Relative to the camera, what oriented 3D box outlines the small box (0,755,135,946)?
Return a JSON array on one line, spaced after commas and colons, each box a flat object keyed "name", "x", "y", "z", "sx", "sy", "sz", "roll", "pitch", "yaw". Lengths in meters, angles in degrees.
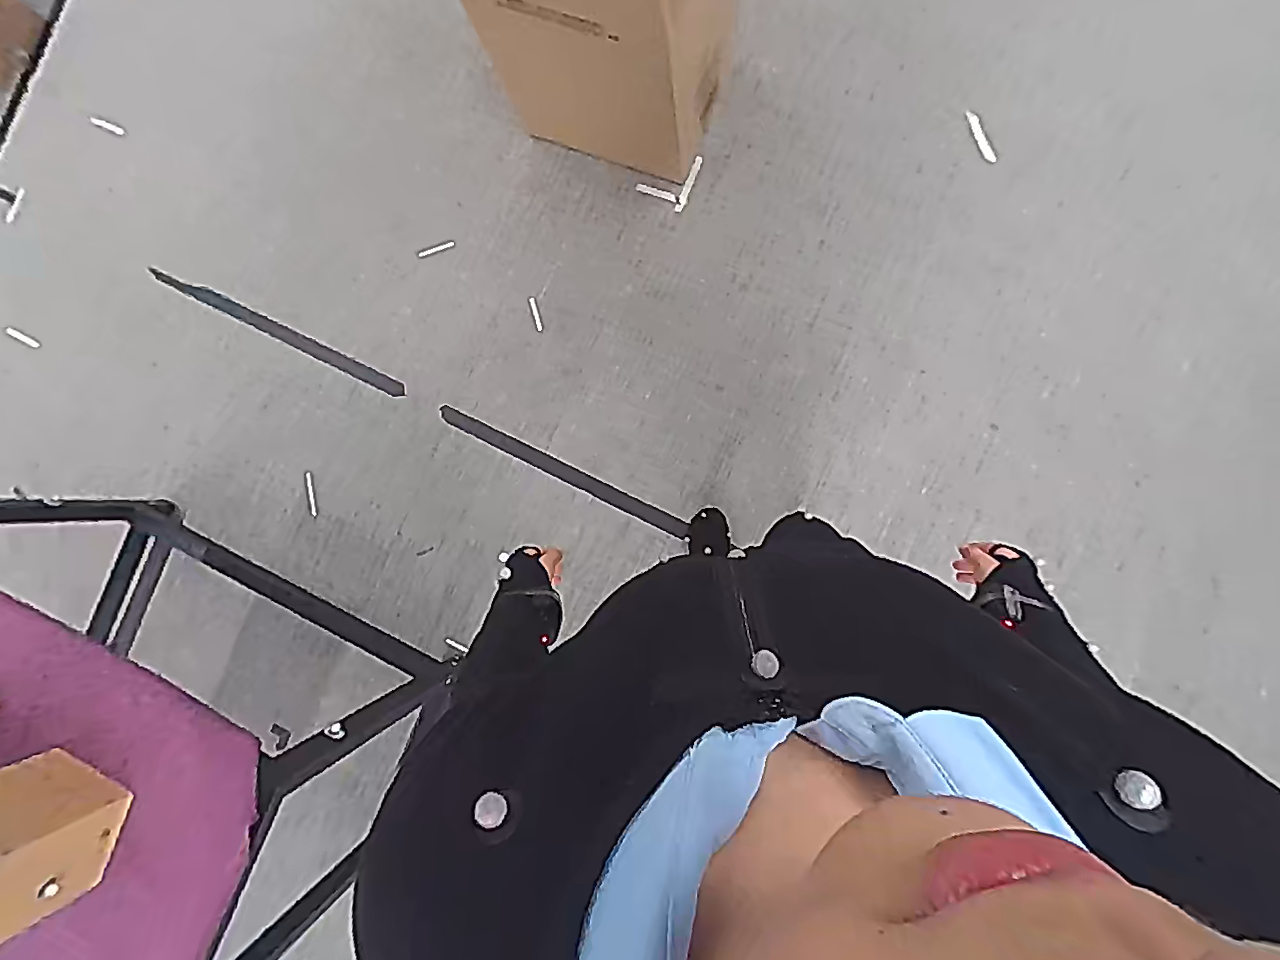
[{"name": "small box", "x": -0.956, "y": 0.564, "z": 0.840, "sx": 0.179, "sy": 0.176, "sz": 0.168, "roll": 21, "pitch": 90, "yaw": 10}]
